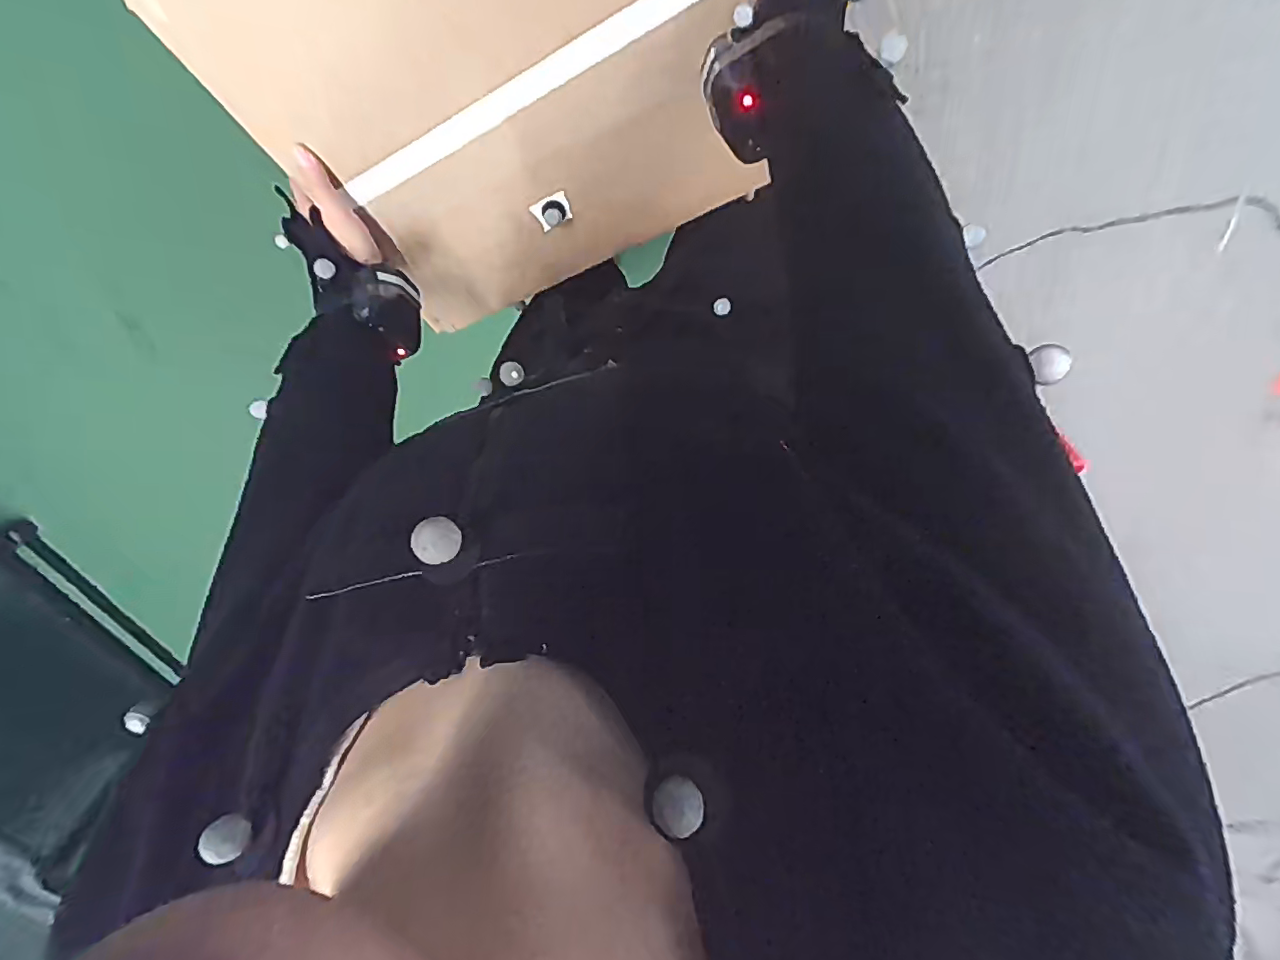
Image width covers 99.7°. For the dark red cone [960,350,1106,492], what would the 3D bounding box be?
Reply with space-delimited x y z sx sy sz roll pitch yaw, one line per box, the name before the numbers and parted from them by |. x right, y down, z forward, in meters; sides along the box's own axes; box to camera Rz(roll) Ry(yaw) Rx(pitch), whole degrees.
dark red cone | 0.871 -0.109 1.173 0.201 0.394 0.202 -14 123 14
